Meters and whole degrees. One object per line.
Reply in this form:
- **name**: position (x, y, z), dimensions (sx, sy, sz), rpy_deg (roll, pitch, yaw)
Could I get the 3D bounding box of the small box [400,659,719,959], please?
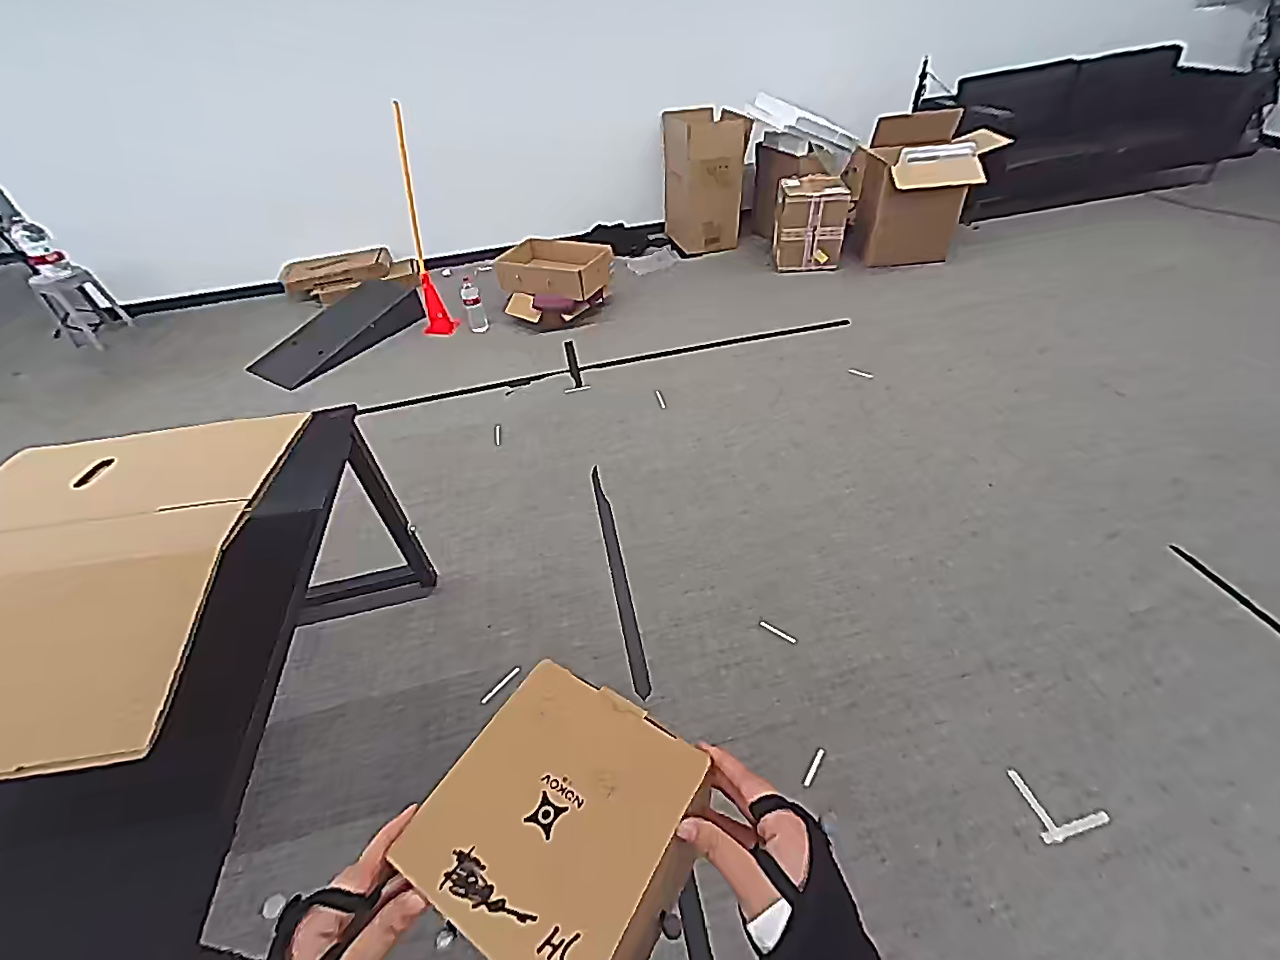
- **small box**: position (-0.049, 0.291, 0.439), dimensions (0.168, 0.176, 0.179), rpy_deg (19, 45, 28)
